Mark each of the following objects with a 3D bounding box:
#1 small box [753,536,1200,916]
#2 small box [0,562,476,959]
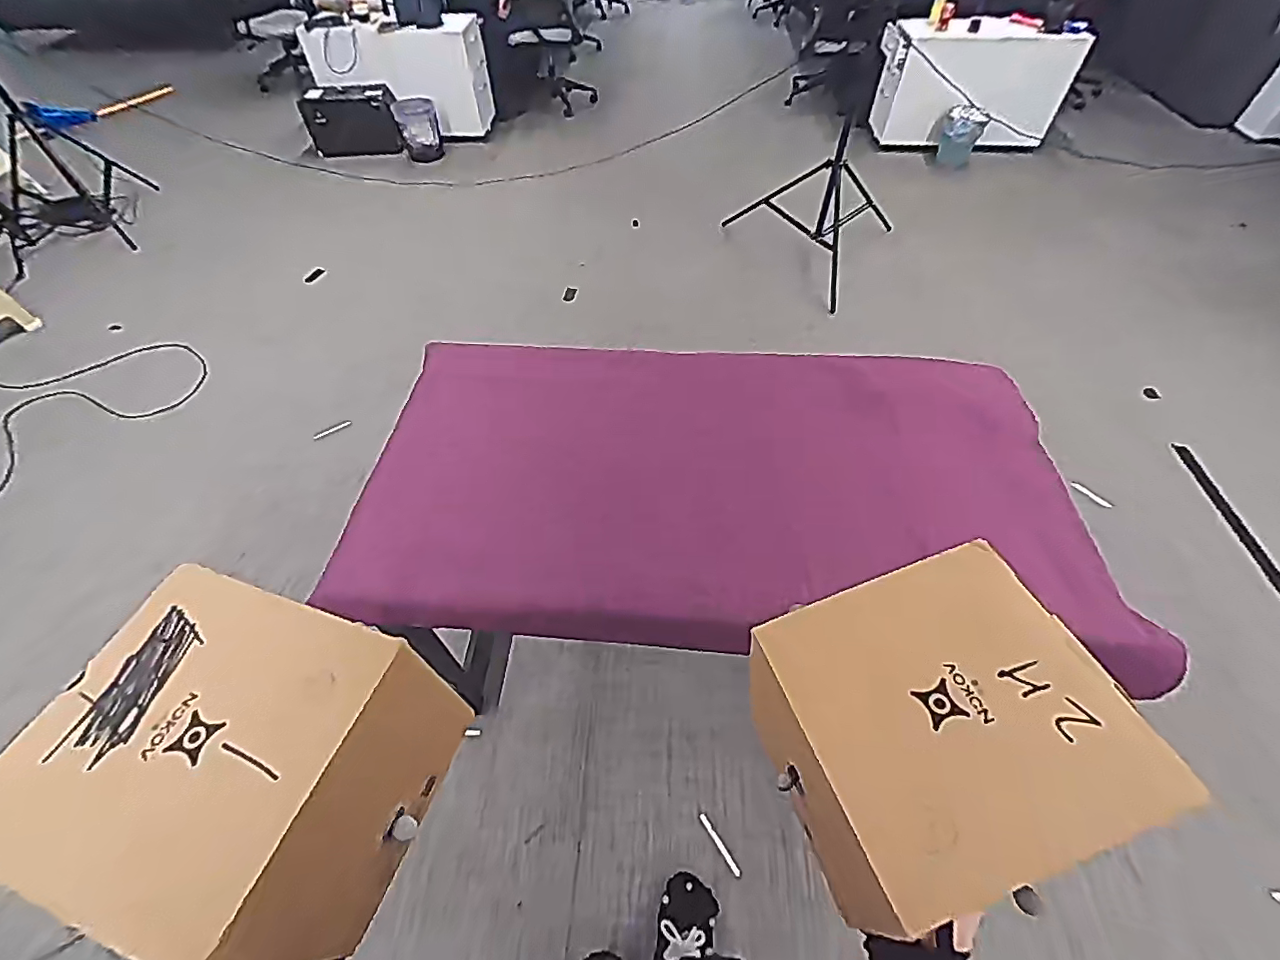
[{"bbox_3d":[0.192,0.173,0.377,0.179,0.176,0.168,-19,52,-6],"label":"small box"},{"bbox_3d":[-0.241,0.184,0.363,0.179,0.176,0.168,15,55,11],"label":"small box"}]
